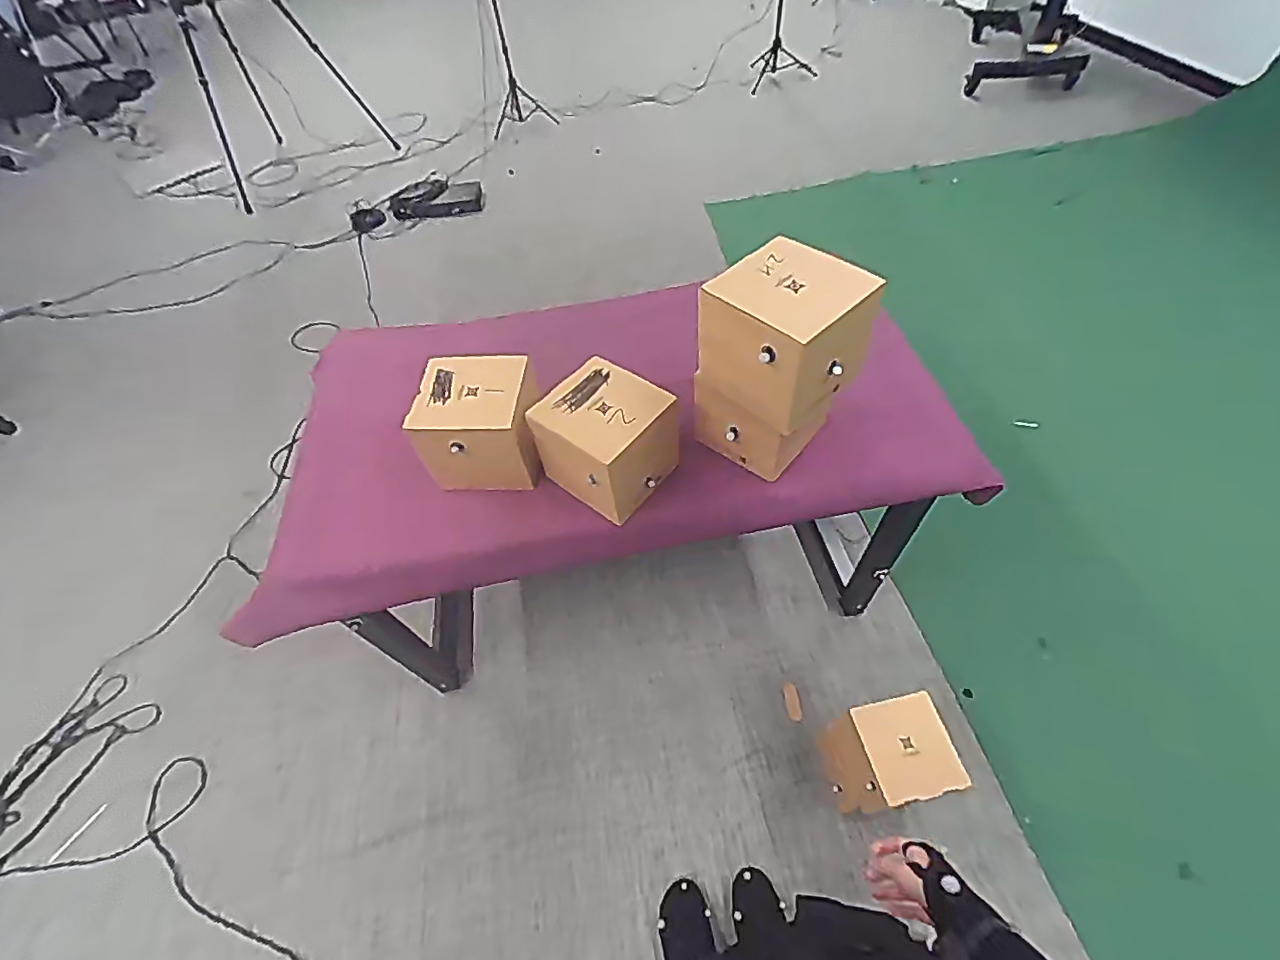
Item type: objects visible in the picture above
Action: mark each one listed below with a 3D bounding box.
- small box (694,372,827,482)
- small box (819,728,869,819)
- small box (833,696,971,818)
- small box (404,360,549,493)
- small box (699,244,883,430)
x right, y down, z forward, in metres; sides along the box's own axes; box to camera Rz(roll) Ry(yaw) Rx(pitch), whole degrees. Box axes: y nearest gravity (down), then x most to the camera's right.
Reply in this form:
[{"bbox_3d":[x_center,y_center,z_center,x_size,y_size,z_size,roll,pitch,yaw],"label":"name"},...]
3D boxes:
[{"bbox_3d":[0.211,-0.128,0.922,0.168,0.176,0.179,33,64,27],"label":"small box"},{"bbox_3d":[0.520,0.656,1.224,0.179,0.176,0.168,-9,54,-2],"label":"small box"},{"bbox_3d":[0.513,0.562,1.092,0.168,0.176,0.179,-12,55,-4],"label":"small box"},{"bbox_3d":[-0.271,-0.089,0.940,0.179,0.176,0.168,0,54,5],"label":"small box"},{"bbox_3d":[0.203,-0.195,0.766,0.168,0.176,0.179,-37,57,-21],"label":"small box"}]
